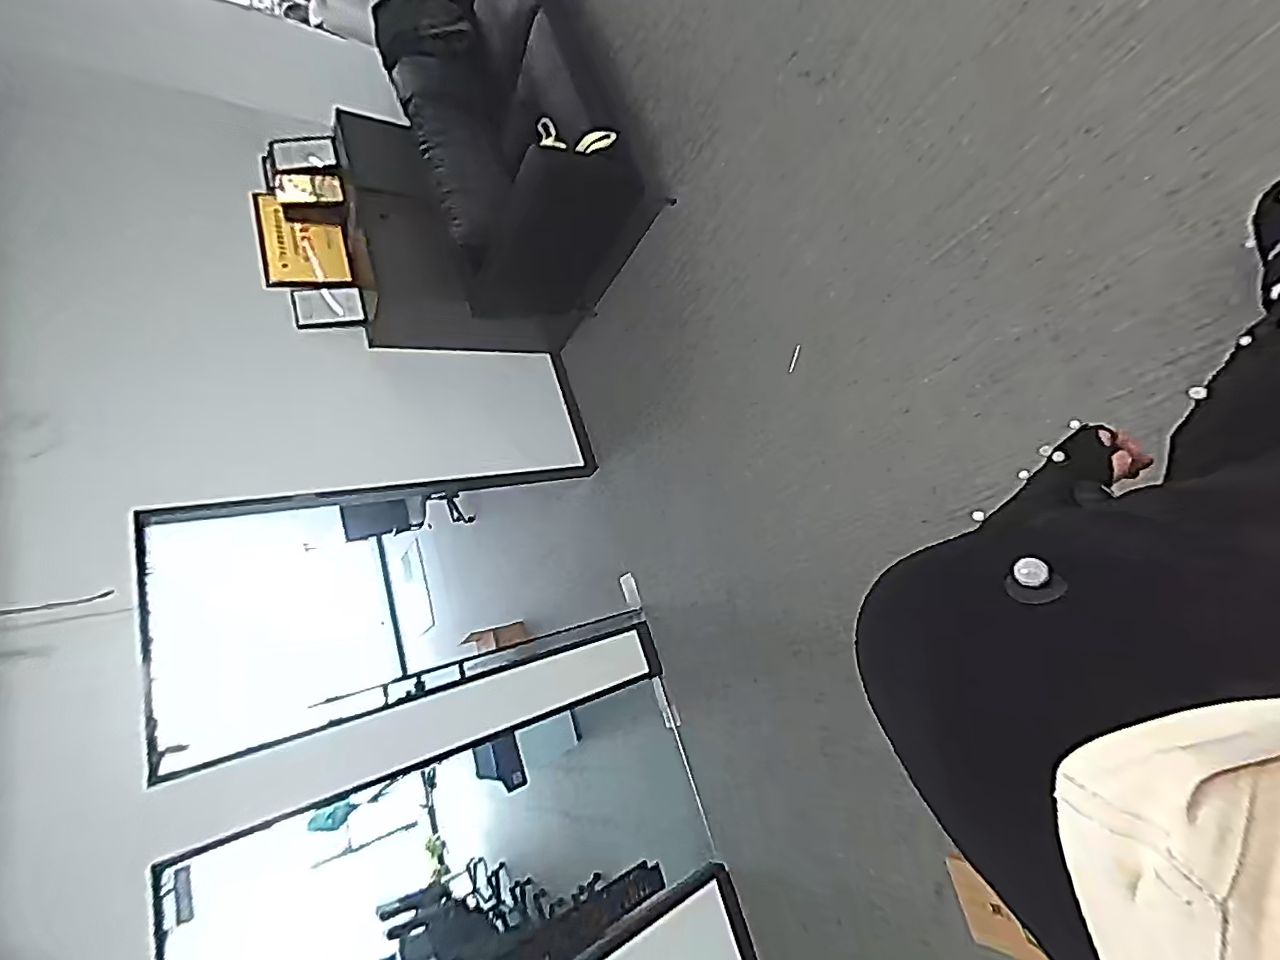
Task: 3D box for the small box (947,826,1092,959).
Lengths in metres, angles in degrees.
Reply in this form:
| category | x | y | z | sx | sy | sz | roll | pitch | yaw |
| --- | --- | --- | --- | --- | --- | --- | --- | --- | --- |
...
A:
| category | x | y | z | sx | sy | sz | roll | pitch | yaw |
| --- | --- | --- | --- | --- | --- | --- | --- | --- | --- |
| small box | 0.787 | 0.849 | 1.117 | 0.179 | 0.176 | 0.168 | -34 | 67 | 54 |
